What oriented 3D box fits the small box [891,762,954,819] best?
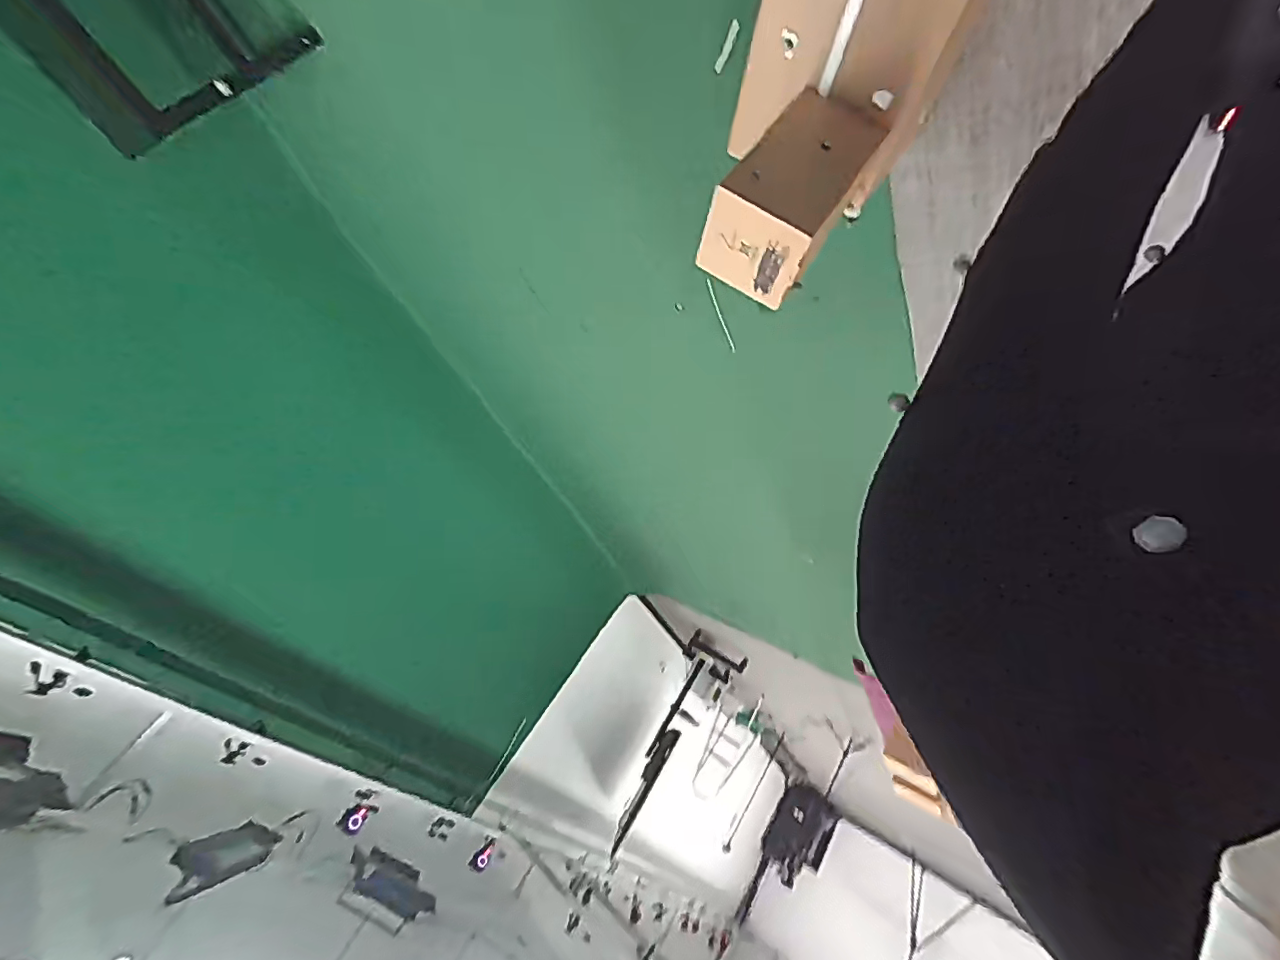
[{"bbox_3d":[1.073,1.133,2.043,0.168,0.176,0.179,11,146,41],"label":"small box"}]

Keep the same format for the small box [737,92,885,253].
[{"bbox_3d":[0.314,-0.567,0.995,0.179,0.176,0.168,34,156,6],"label":"small box"}]

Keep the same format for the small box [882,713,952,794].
[{"bbox_3d":[0.945,0.926,1.836,0.168,0.176,0.179,14,151,40],"label":"small box"}]
